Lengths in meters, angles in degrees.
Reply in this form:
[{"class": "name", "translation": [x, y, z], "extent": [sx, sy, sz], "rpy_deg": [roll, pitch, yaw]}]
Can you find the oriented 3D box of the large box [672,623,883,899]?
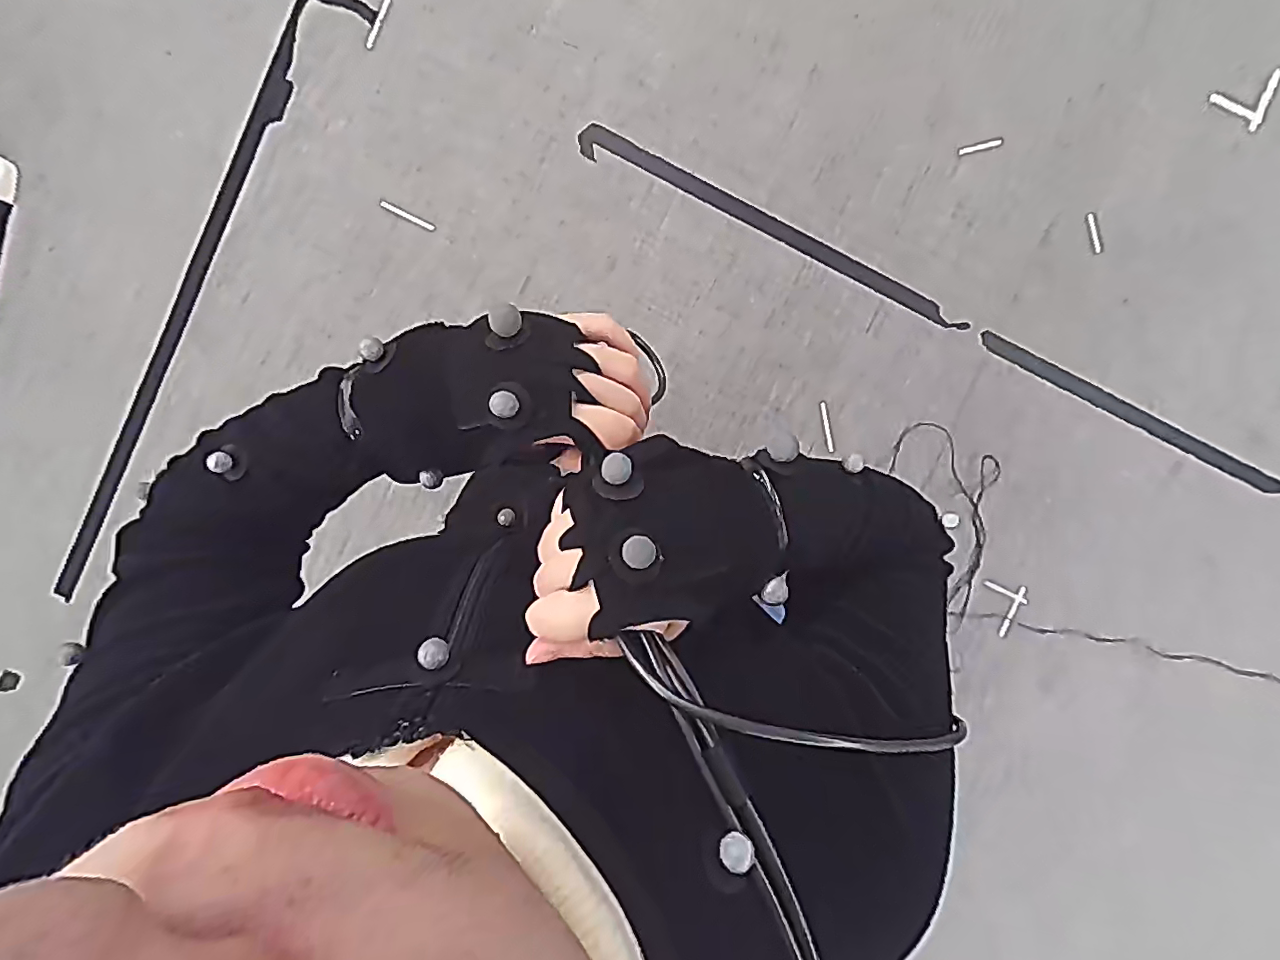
[{"class": "large box", "translation": [0.280, 0.593, 1.207], "extent": [0.320, 0.320, 0.408], "rpy_deg": [-15, 95, 1]}]
